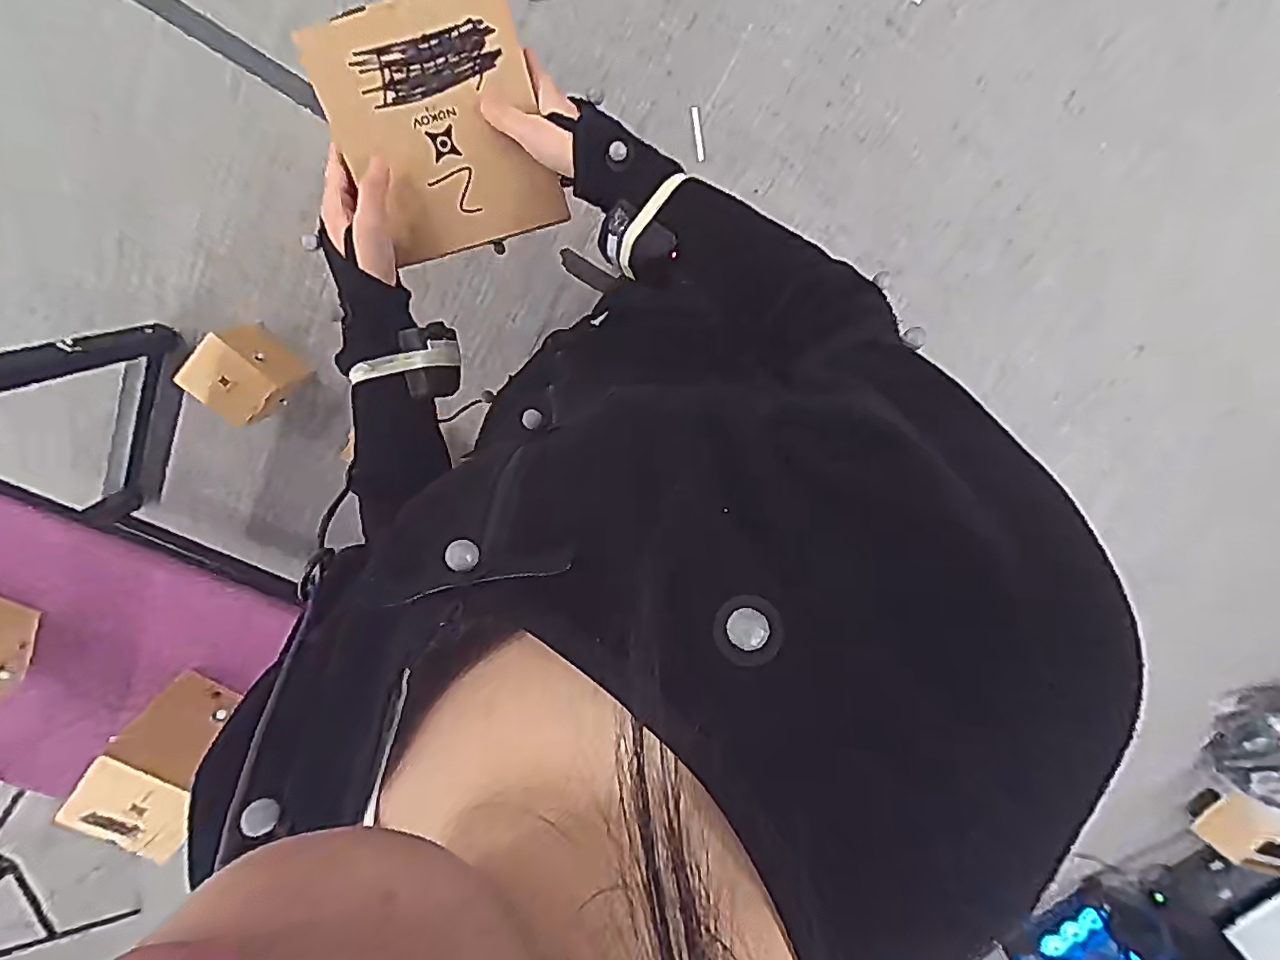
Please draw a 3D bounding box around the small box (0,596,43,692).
[{"bbox_3d":[-1.039,0.256,0.771,0.179,0.176,0.168,29,111,-14],"label":"small box"}]

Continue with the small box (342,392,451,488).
[{"bbox_3d":[-0.630,-0.112,1.418,0.179,0.176,0.168,32,109,-14],"label":"small box"}]

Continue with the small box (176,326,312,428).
[{"bbox_3d":[-0.970,-0.264,1.341,0.168,0.176,0.179,-41,110,15],"label":"small box"}]

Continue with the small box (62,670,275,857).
[{"bbox_3d":[-0.737,0.447,0.866,0.168,0.176,0.179,39,107,-17],"label":"small box"}]
